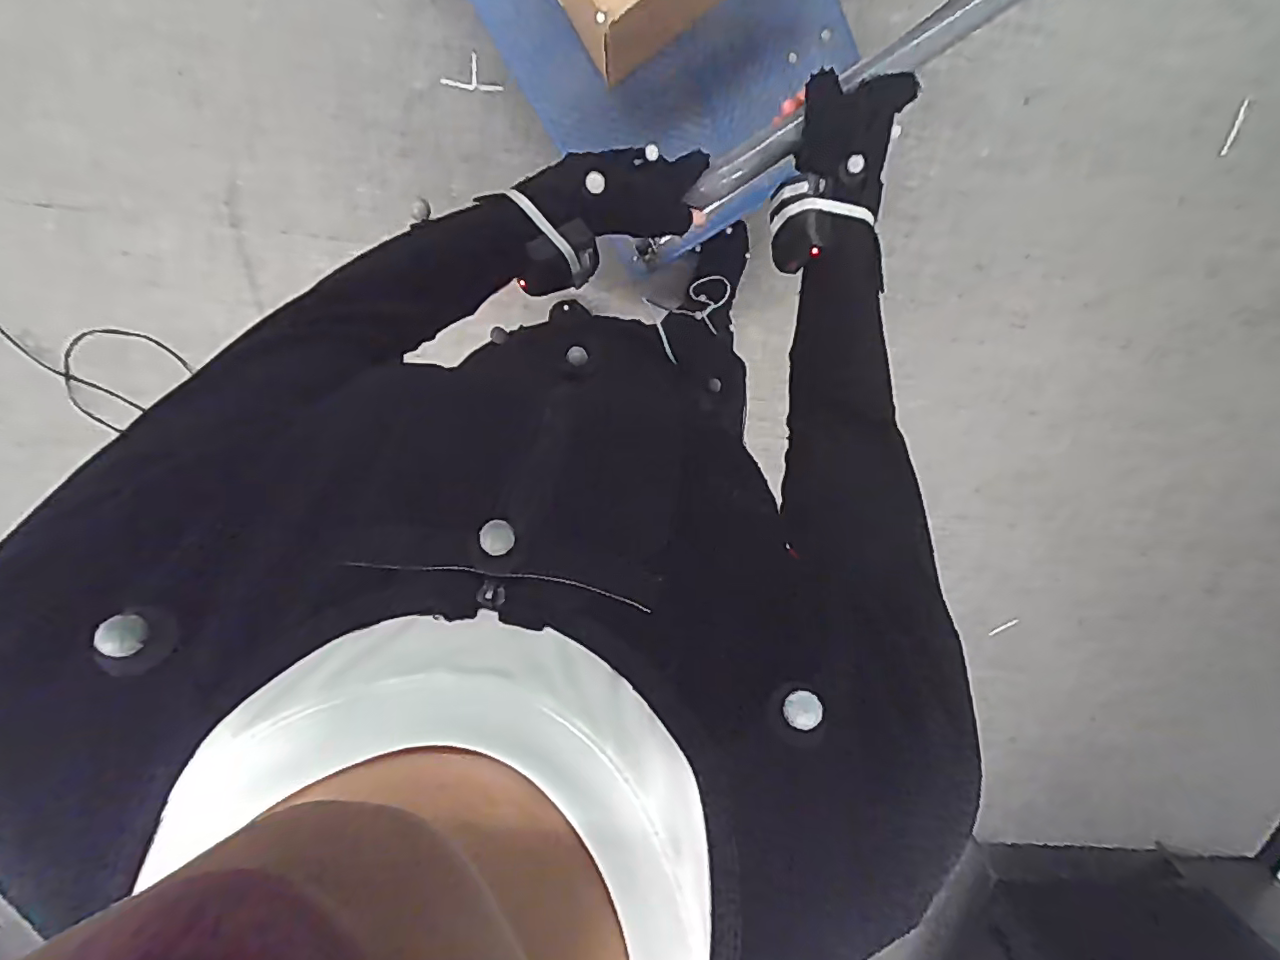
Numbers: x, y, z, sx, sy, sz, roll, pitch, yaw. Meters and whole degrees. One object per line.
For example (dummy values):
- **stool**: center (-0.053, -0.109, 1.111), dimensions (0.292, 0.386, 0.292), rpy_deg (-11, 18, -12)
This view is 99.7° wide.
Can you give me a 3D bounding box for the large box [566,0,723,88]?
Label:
- **large box**: center (0.038, -0.917, 0.825), dimensions (0.408, 0.320, 0.320), rpy_deg (-33, 109, 12)
